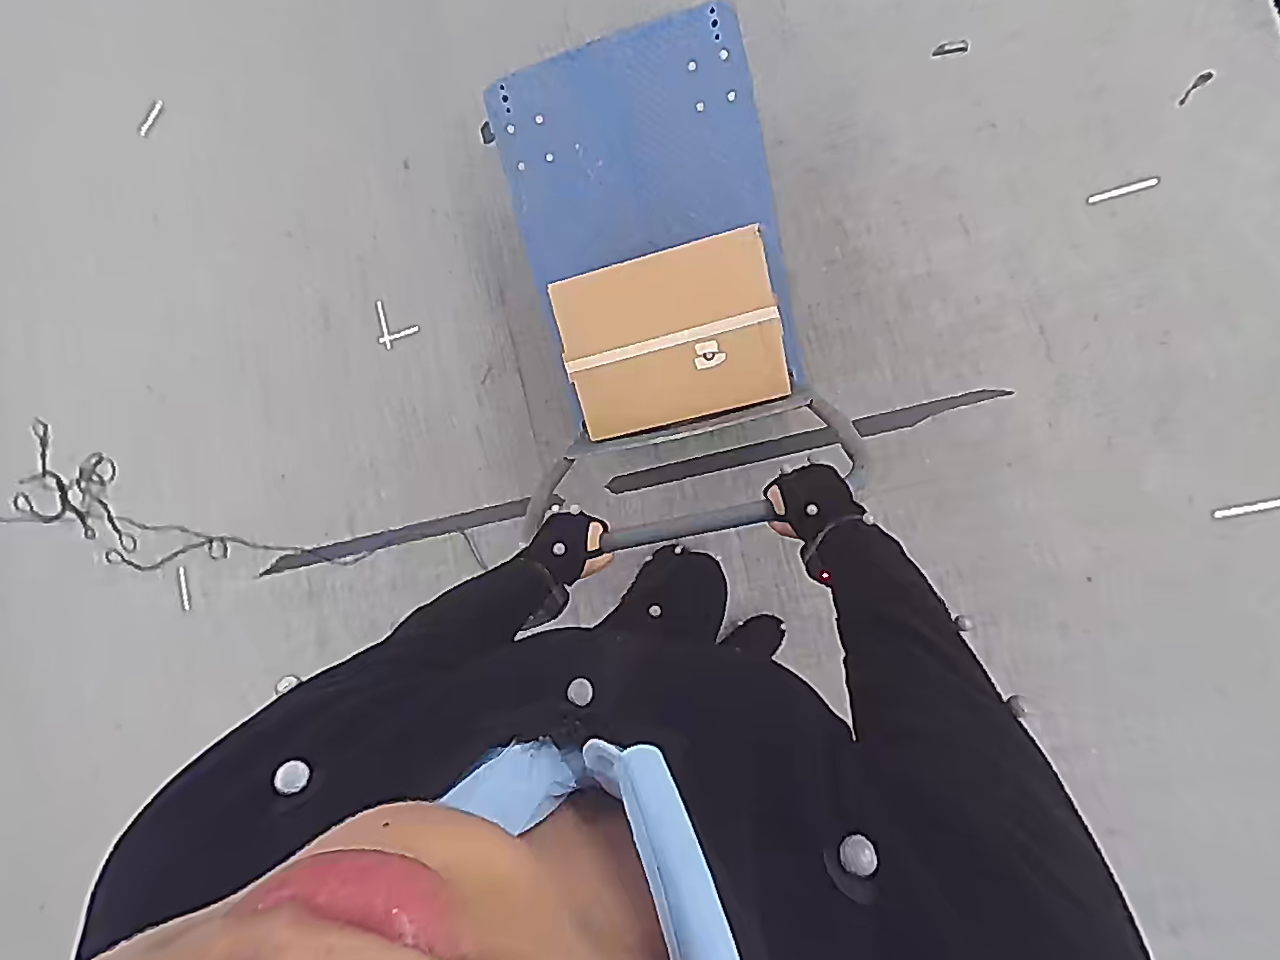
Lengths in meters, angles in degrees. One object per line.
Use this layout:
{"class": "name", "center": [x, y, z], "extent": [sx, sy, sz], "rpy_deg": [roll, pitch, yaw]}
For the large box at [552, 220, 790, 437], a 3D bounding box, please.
{"class": "large box", "center": [0.072, -0.314, 1.180], "extent": [0.408, 0.320, 0.320], "rpy_deg": [-14, 104, 9]}
